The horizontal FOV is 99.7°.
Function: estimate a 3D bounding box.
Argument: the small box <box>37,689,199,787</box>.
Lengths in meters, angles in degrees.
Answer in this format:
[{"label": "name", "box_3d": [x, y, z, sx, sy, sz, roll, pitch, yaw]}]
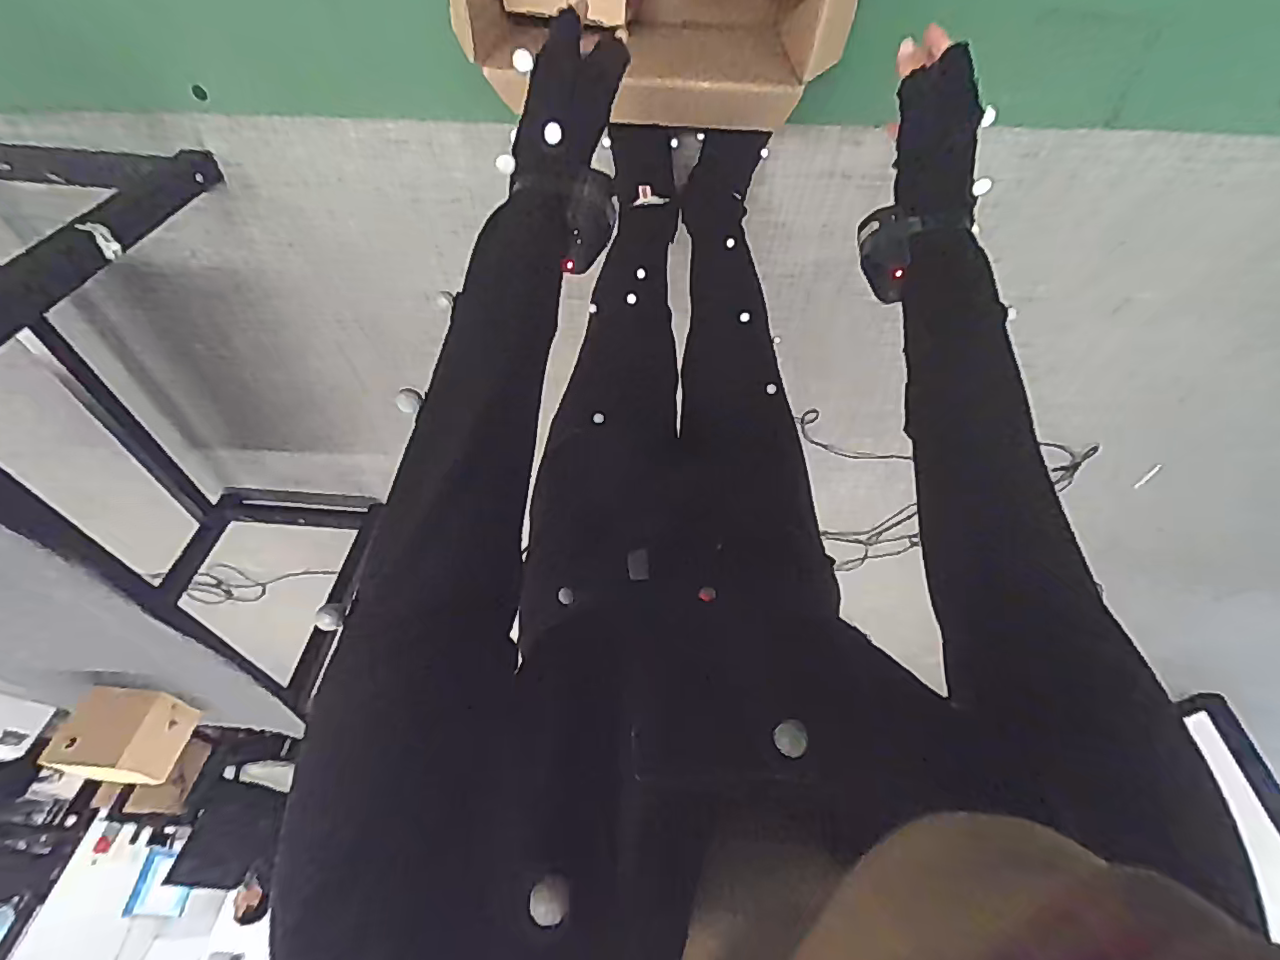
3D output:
[{"label": "small box", "box_3d": [-1.201, 0.600, 1.263, 0.179, 0.176, 0.168, 3, 139, 1]}]
